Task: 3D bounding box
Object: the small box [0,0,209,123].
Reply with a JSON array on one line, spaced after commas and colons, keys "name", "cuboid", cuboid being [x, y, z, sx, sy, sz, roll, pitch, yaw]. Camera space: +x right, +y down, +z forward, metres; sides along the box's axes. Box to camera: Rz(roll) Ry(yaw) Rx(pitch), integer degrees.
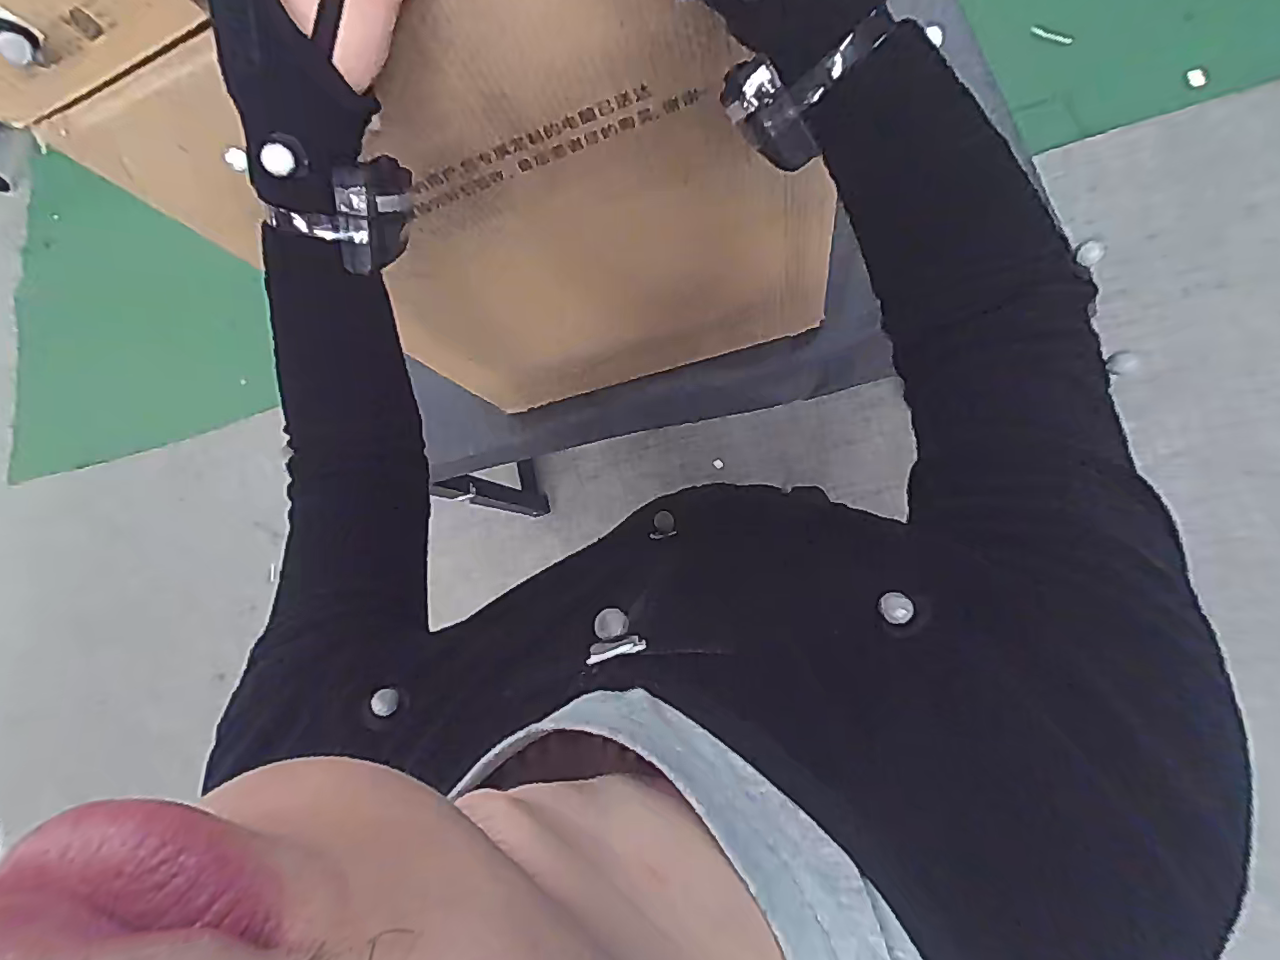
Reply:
[{"name": "small box", "cuboid": [-0.353, -0.332, 0.262, 0.168, 0.176, 0.179, -17, 78, 15]}]
